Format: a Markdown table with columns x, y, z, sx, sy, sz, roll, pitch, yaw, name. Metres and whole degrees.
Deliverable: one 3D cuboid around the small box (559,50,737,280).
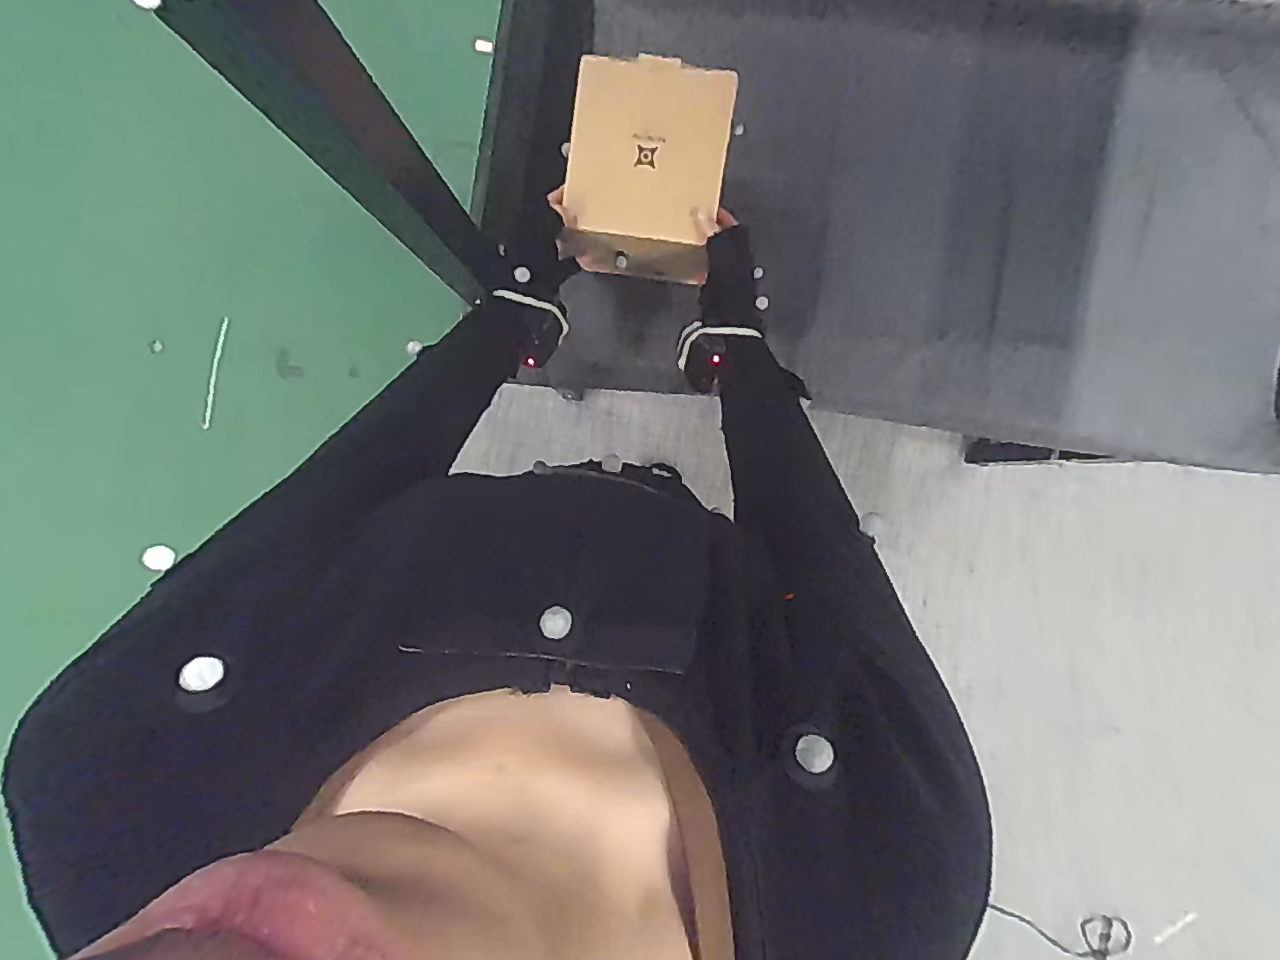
| x | y | z | sx | sy | sz | roll | pitch | yaw | name |
| --- | --- | --- | --- | --- | --- | --- | --- | --- | --- |
| 0.012 | -0.351 | 0.638 | 0.168 | 0.176 | 0.179 | 9 | 95 | 2 | small box |
